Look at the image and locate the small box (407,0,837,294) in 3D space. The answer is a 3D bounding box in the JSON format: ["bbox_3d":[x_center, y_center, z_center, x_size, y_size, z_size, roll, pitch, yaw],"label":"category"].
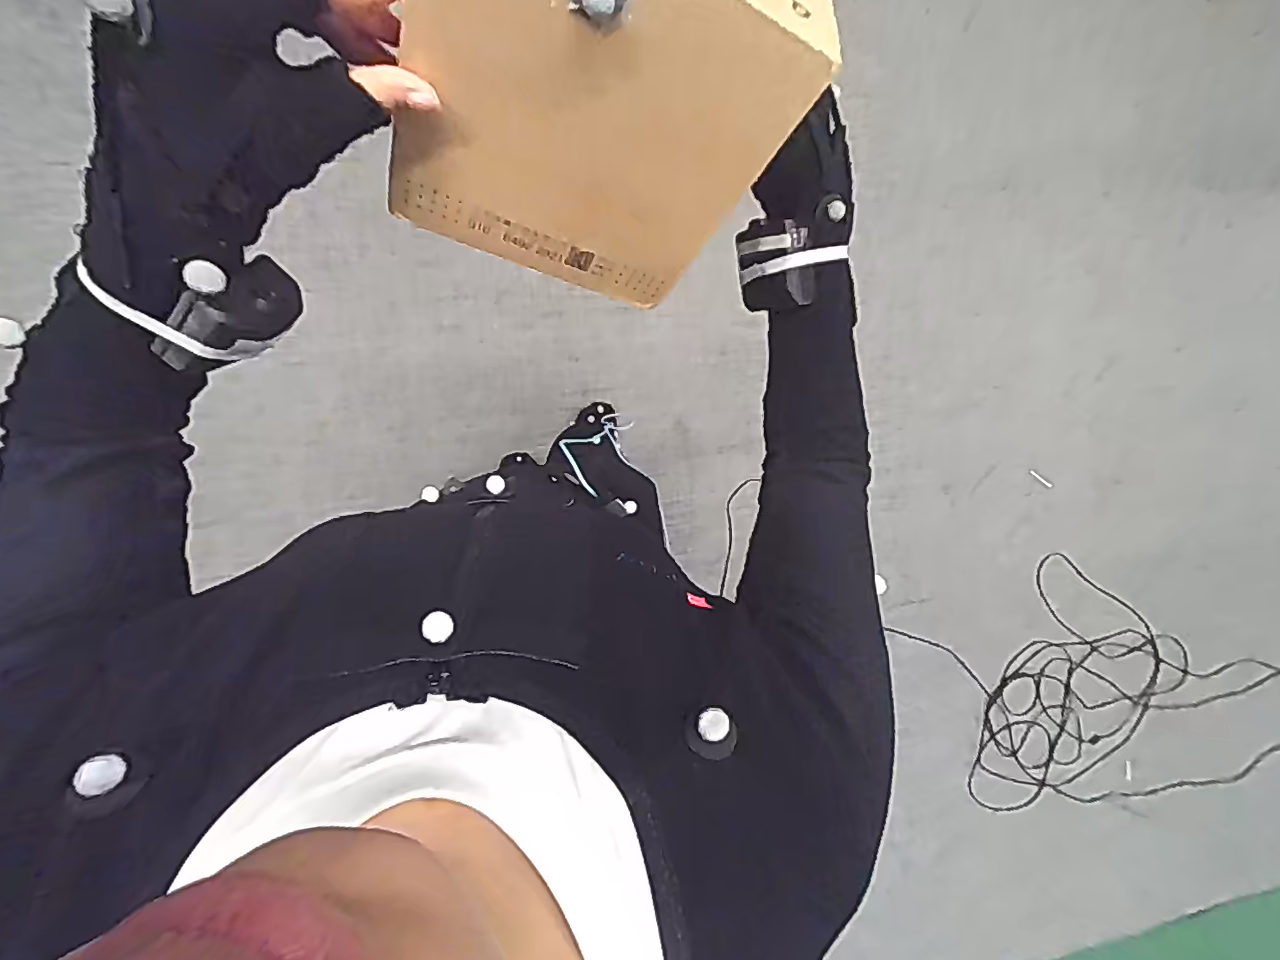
[{"bbox_3d":[-0.023,-0.244,0.300,0.168,0.176,0.179,13,63,-23],"label":"small box"}]
